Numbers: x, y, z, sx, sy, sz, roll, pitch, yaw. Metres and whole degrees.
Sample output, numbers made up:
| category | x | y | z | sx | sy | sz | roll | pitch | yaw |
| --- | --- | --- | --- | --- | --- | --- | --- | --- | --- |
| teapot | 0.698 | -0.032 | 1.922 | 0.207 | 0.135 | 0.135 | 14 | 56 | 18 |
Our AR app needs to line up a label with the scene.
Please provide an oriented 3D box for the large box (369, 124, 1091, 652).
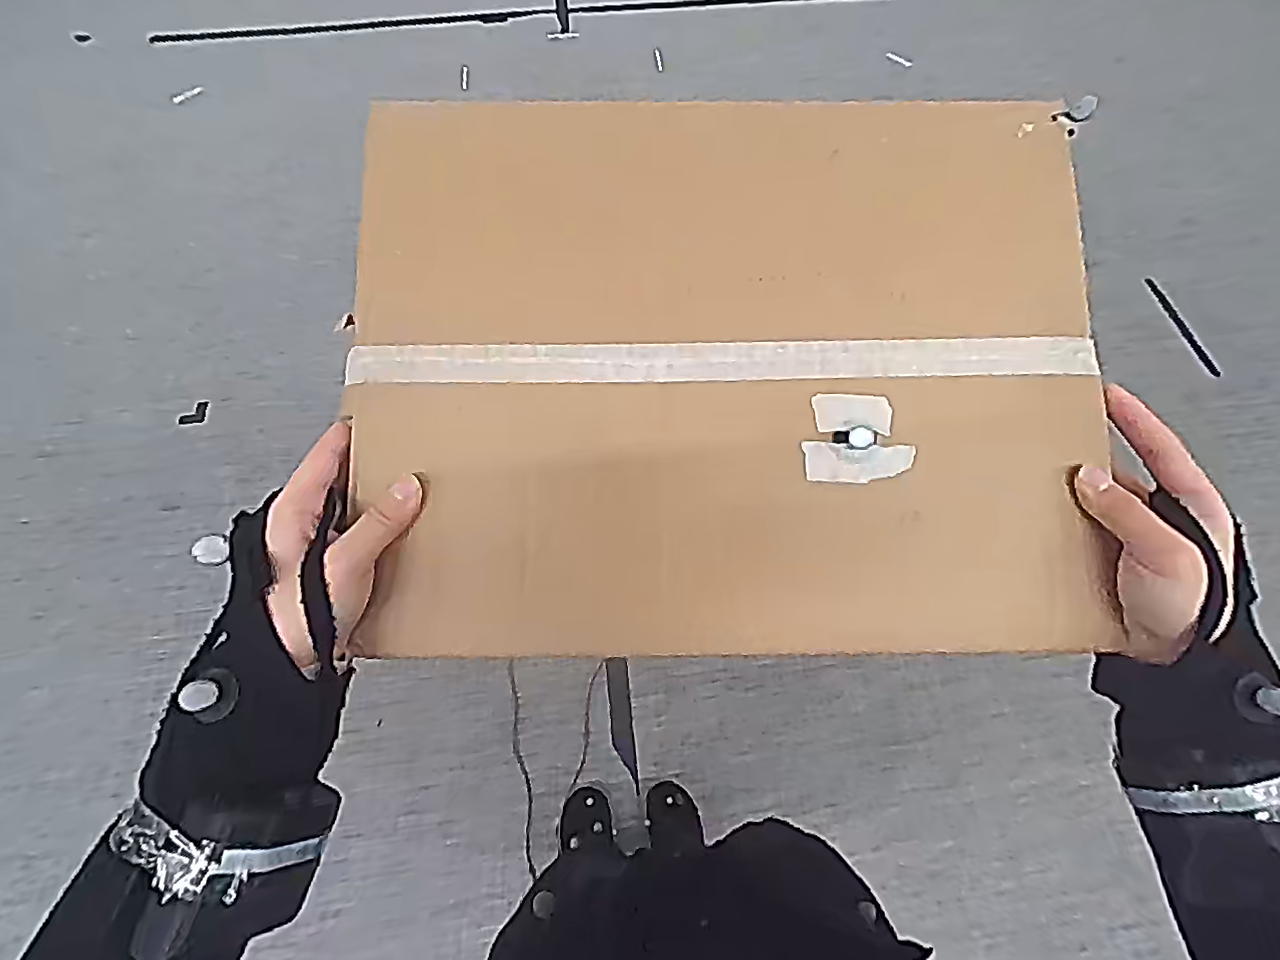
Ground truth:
| category | x | y | z | sx | sy | sz | roll | pitch | yaw |
| --- | --- | --- | --- | --- | --- | --- | --- | --- | --- |
| large box | 0.044 | -0.046 | 0.460 | 0.408 | 0.320 | 0.320 | -1 | 84 | -1 |
